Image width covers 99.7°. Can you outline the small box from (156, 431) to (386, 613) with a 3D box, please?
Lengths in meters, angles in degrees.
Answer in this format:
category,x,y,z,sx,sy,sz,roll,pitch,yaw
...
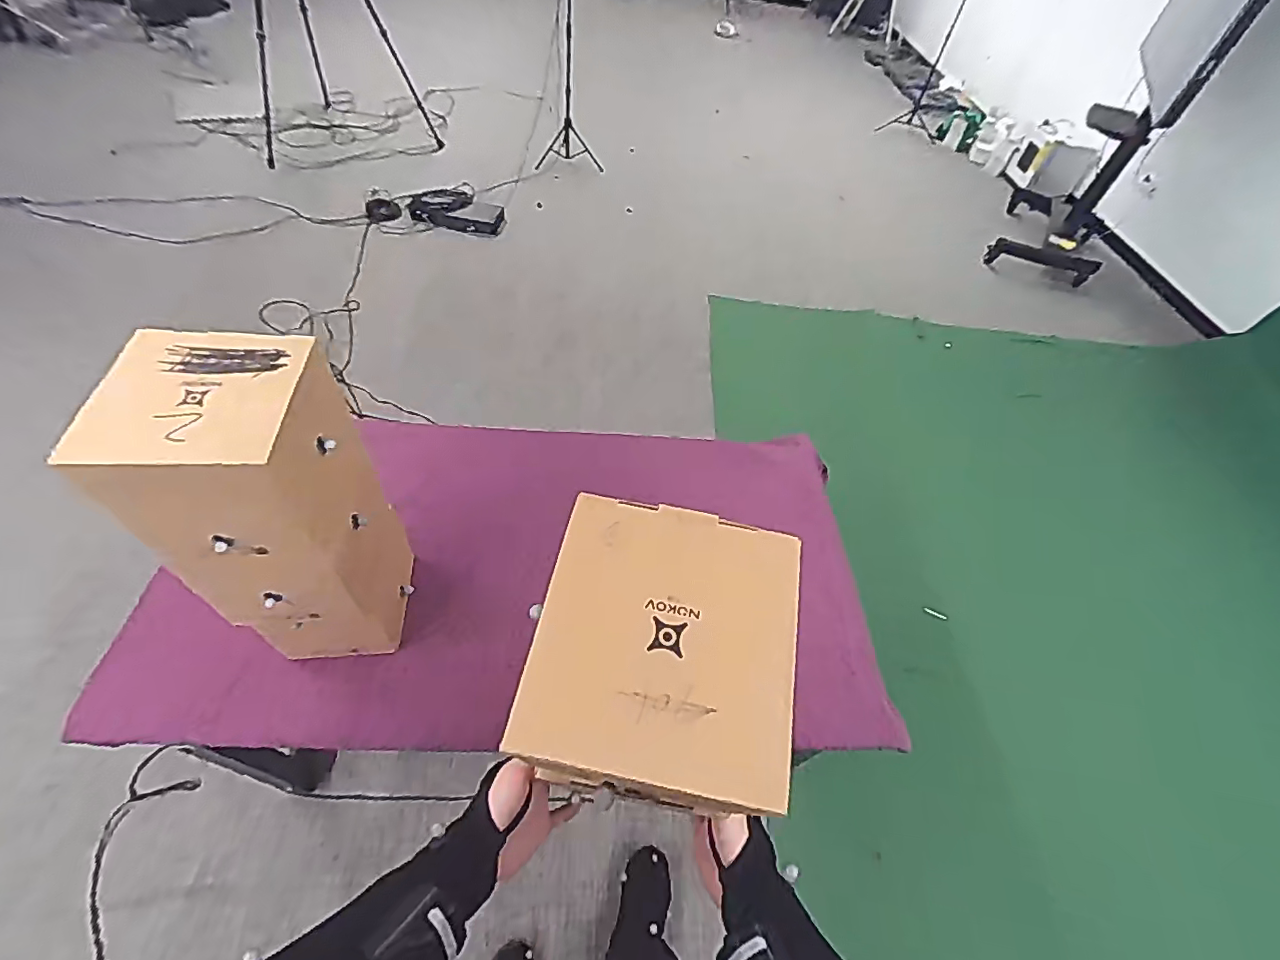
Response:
category,x,y,z,sx,sy,sz,roll,pitch,yaw
small box,-0.437,0.059,0.681,0.168,0.176,0.179,1,52,-9

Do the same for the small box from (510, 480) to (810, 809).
category,x,y,z,sx,sy,sz,roll,pitch,yaw
small box,0.016,0.129,0.408,0.168,0.176,0.179,13,59,3

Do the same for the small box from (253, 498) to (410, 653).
category,x,y,z,sx,sy,sz,roll,pitch,yaw
small box,-0.460,0.145,0.821,0.168,0.176,0.179,-1,52,-9
